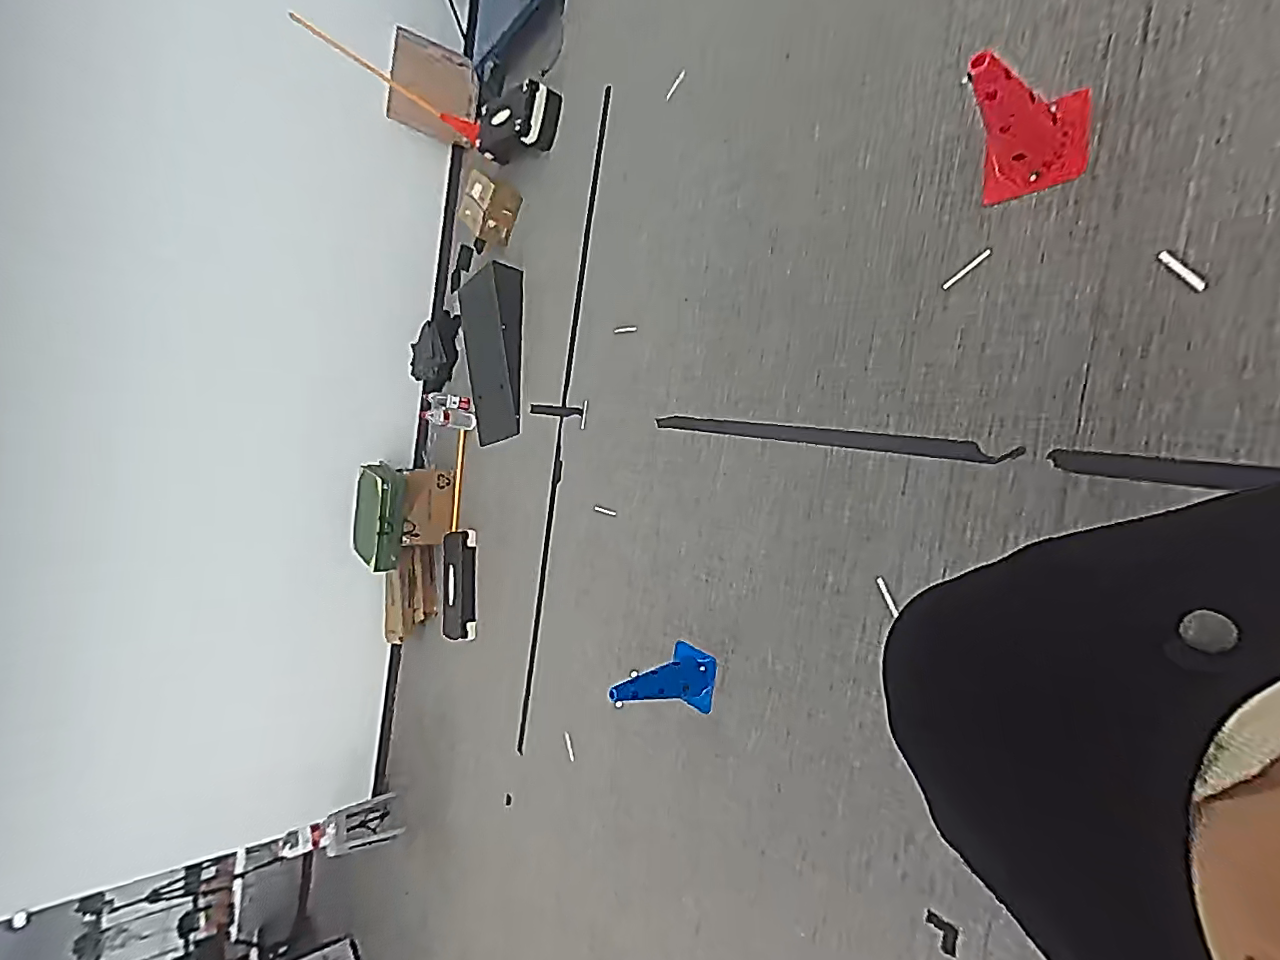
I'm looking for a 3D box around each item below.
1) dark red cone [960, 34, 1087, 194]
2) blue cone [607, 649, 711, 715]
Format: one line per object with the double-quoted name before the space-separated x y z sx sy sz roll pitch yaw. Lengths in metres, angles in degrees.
"dark red cone" 0.742 -0.770 1.098 0.202 0.394 0.201 1 87 50
"blue cone" 0.050 0.695 1.789 0.193 0.380 0.192 14 97 50
